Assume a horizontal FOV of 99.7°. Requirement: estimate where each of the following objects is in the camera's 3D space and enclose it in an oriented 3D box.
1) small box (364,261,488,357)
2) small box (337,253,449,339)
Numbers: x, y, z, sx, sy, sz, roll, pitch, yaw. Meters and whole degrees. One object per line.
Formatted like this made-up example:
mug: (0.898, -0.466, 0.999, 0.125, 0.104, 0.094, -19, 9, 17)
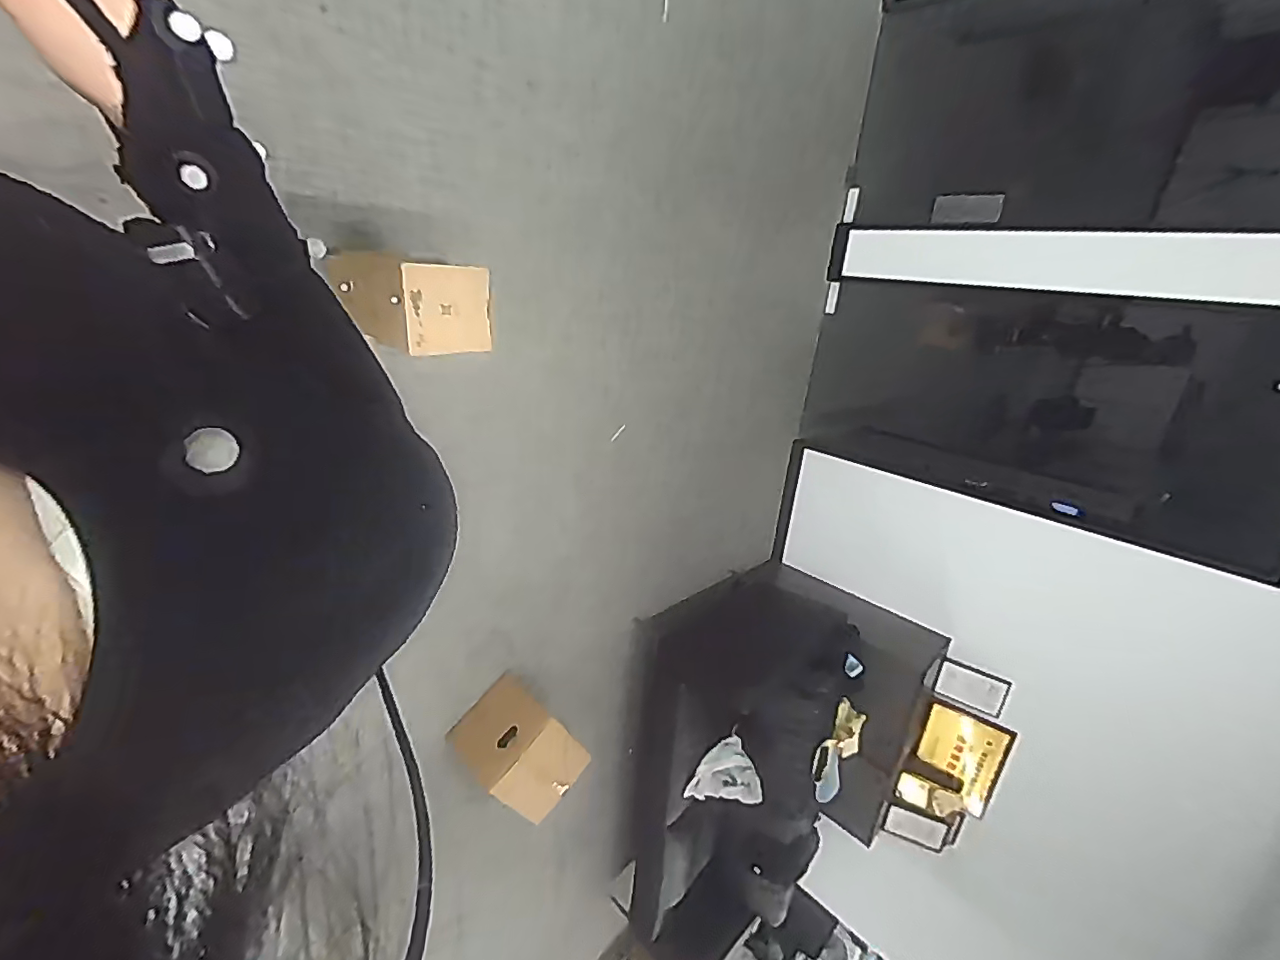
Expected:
small box: (-0.427, -0.347, 1.089, 0.179, 0.176, 0.168, -18, 120, -44)
small box: (-0.539, -0.406, 1.194, 0.179, 0.176, 0.168, -16, 119, -42)
